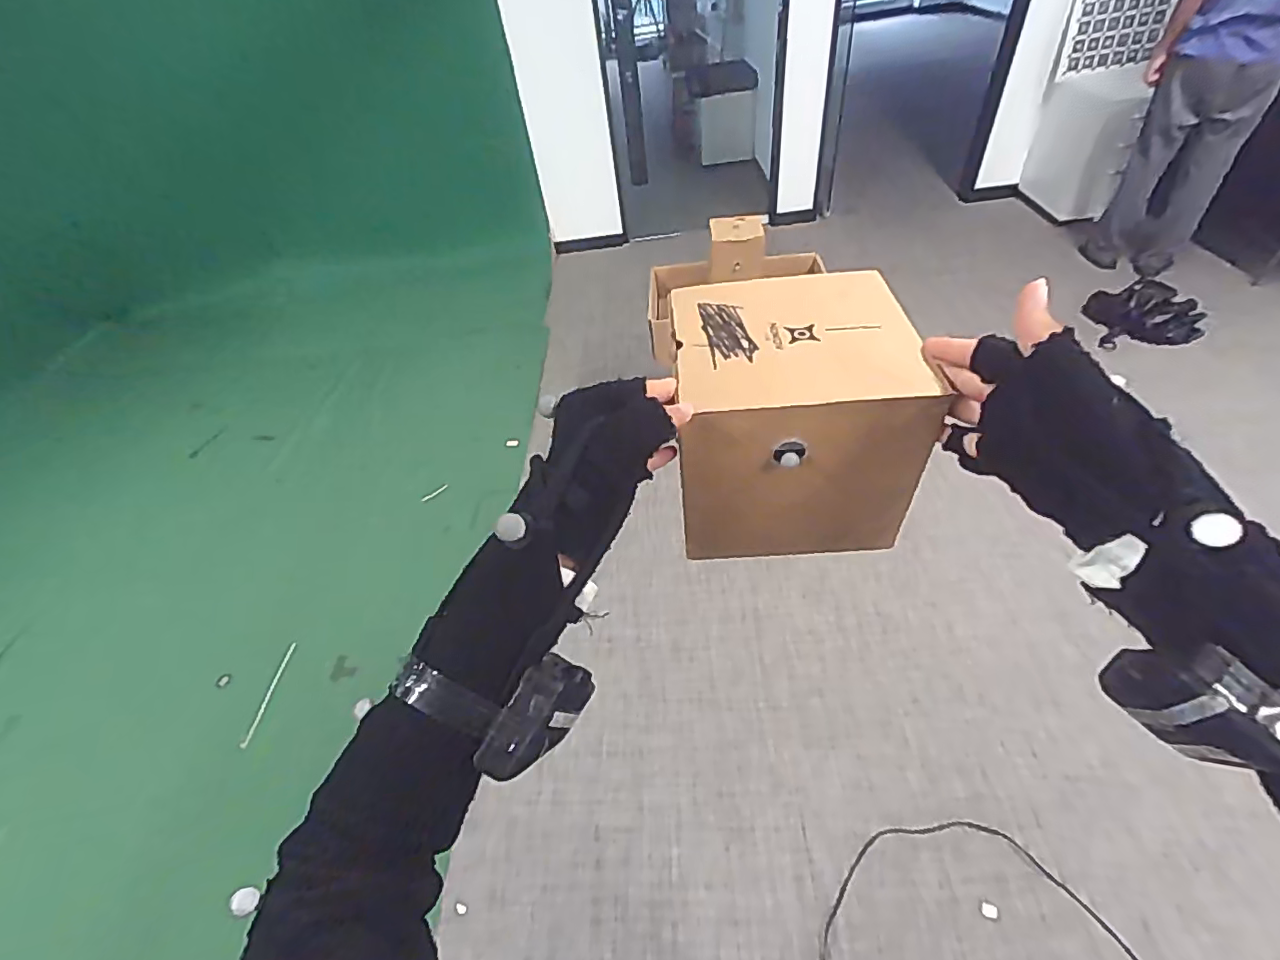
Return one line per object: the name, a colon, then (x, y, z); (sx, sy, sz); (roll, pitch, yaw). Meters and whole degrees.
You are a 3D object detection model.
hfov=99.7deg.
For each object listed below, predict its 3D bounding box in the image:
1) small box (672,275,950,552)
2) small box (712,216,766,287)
small box: (0.122, -0.051, 0.461); (0.179, 0.176, 0.168); (-4, 47, 4)
small box: (0.327, -0.758, 1.807); (0.168, 0.176, 0.179); (-2, 47, 5)
